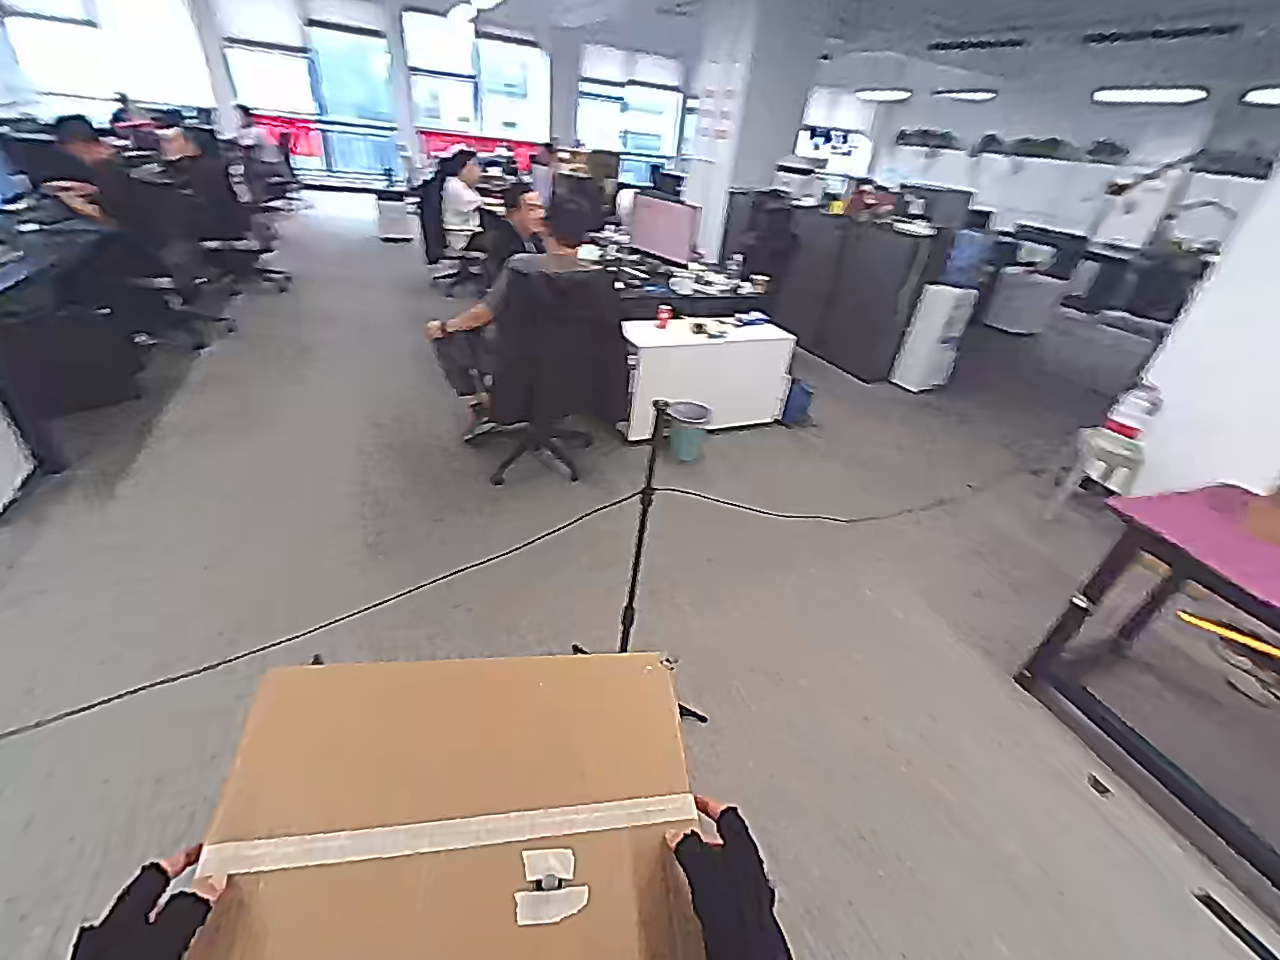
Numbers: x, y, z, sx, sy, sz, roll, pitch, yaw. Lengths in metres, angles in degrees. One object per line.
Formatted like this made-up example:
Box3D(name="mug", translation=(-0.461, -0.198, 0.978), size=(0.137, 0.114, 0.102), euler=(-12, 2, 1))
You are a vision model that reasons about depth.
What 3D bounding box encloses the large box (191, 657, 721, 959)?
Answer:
Box3D(name="large box", translation=(-0.169, 0.411, 0.582), size=(0.408, 0.320, 0.320), euler=(3, 46, -12))
